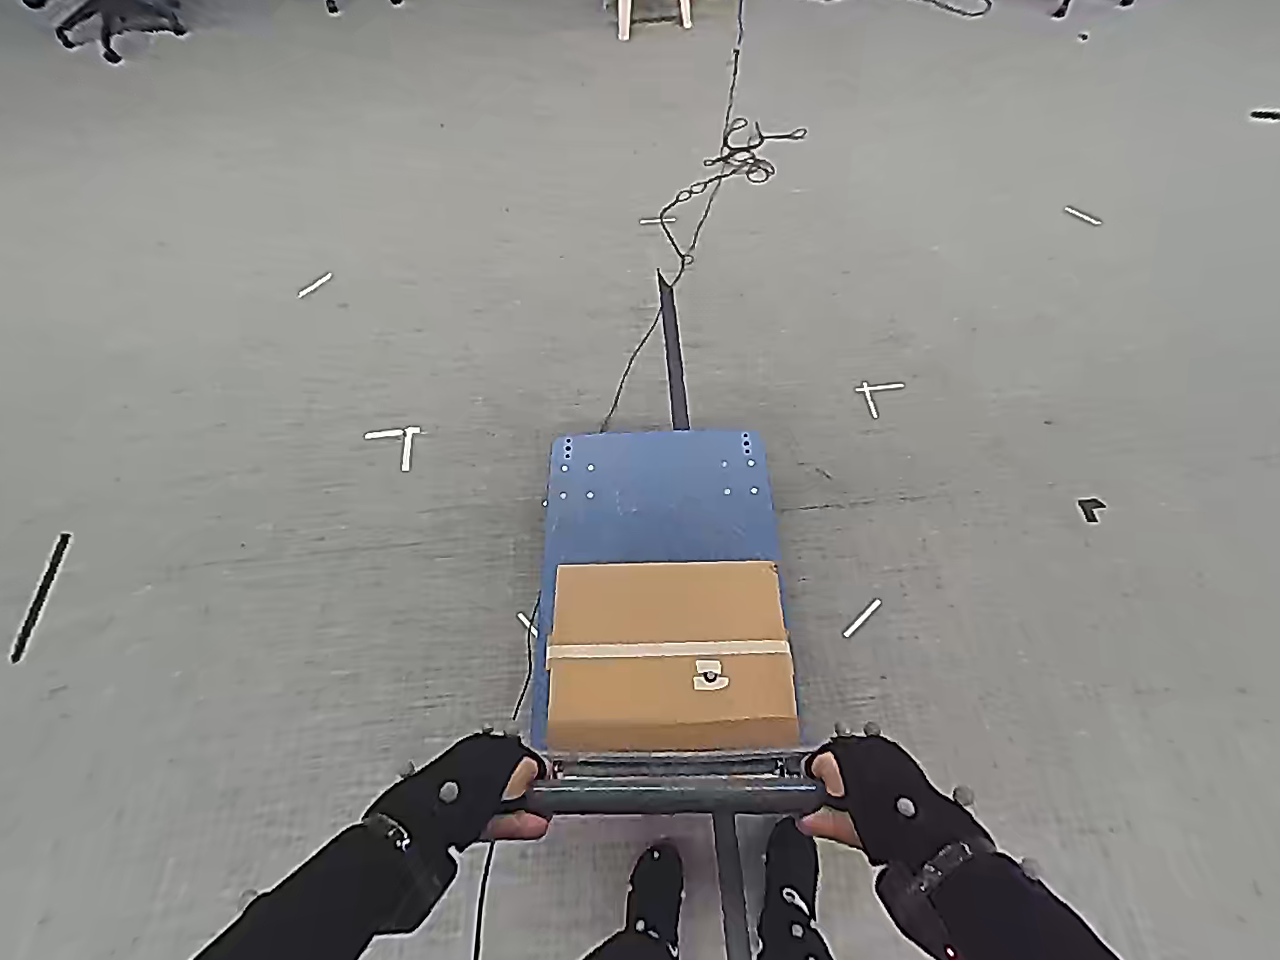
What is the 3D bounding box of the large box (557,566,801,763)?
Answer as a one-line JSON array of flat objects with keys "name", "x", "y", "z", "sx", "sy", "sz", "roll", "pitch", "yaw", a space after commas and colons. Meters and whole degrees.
[{"name": "large box", "x": 0.058, "y": 0.374, "z": 1.067, "sx": 0.408, "sy": 0.320, "sz": 0.320, "roll": -2, "pitch": 62, "yaw": 0}]
